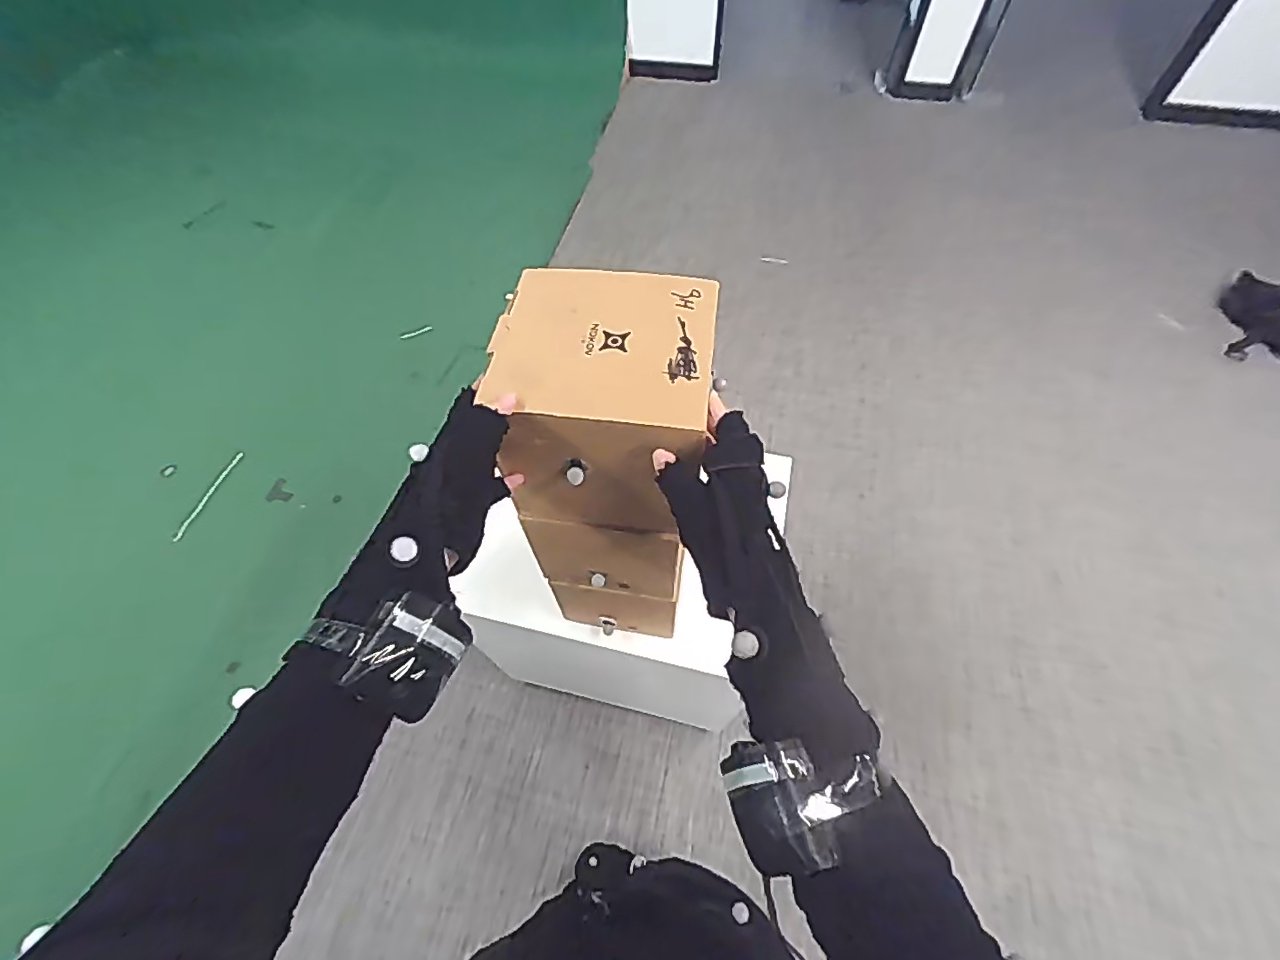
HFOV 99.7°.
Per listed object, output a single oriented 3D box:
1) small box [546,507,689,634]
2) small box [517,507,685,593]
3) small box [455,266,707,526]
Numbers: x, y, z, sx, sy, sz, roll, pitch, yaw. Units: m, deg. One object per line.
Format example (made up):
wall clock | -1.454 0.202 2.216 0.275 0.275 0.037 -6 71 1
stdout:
small box | -0.022 0.103 0.772 0.168 0.176 0.179 6 60 7
small box | -0.030 0.013 0.635 0.168 0.176 0.179 5 58 5
small box | -0.036 -0.070 0.494 0.179 0.176 0.168 6 59 7
